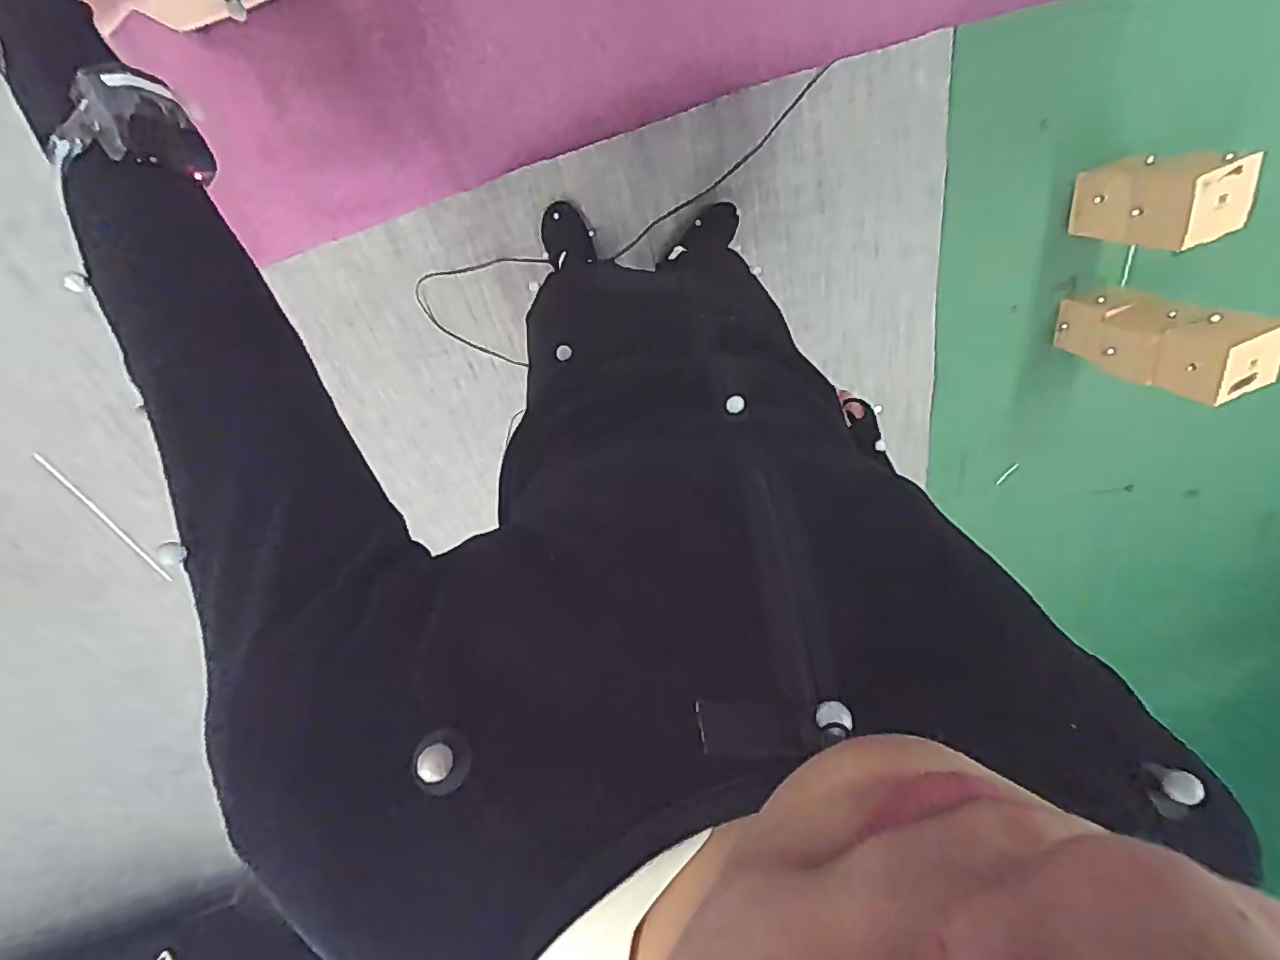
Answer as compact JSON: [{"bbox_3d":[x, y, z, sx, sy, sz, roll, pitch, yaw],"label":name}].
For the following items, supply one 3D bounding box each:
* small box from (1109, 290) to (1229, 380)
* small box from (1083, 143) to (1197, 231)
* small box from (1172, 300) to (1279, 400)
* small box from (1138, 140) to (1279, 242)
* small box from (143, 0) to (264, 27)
[{"bbox_3d":[1.509,-0.421,1.549,0.179,0.176,0.168,-25,123,5],"label":"small box"},{"bbox_3d":[1.367,-0.801,1.478,0.179,0.176,0.168,-19,123,0],"label":"small box"},{"bbox_3d":[1.553,-0.342,1.409,0.168,0.176,0.179,-23,123,4],"label":"small box"},{"bbox_3d":[1.395,-0.719,1.339,0.168,0.176,0.179,-22,124,2],"label":"small box"},{"bbox_3d":[-0.390,-0.507,0.423,0.168,0.176,0.179,-23,121,0],"label":"small box"}]
